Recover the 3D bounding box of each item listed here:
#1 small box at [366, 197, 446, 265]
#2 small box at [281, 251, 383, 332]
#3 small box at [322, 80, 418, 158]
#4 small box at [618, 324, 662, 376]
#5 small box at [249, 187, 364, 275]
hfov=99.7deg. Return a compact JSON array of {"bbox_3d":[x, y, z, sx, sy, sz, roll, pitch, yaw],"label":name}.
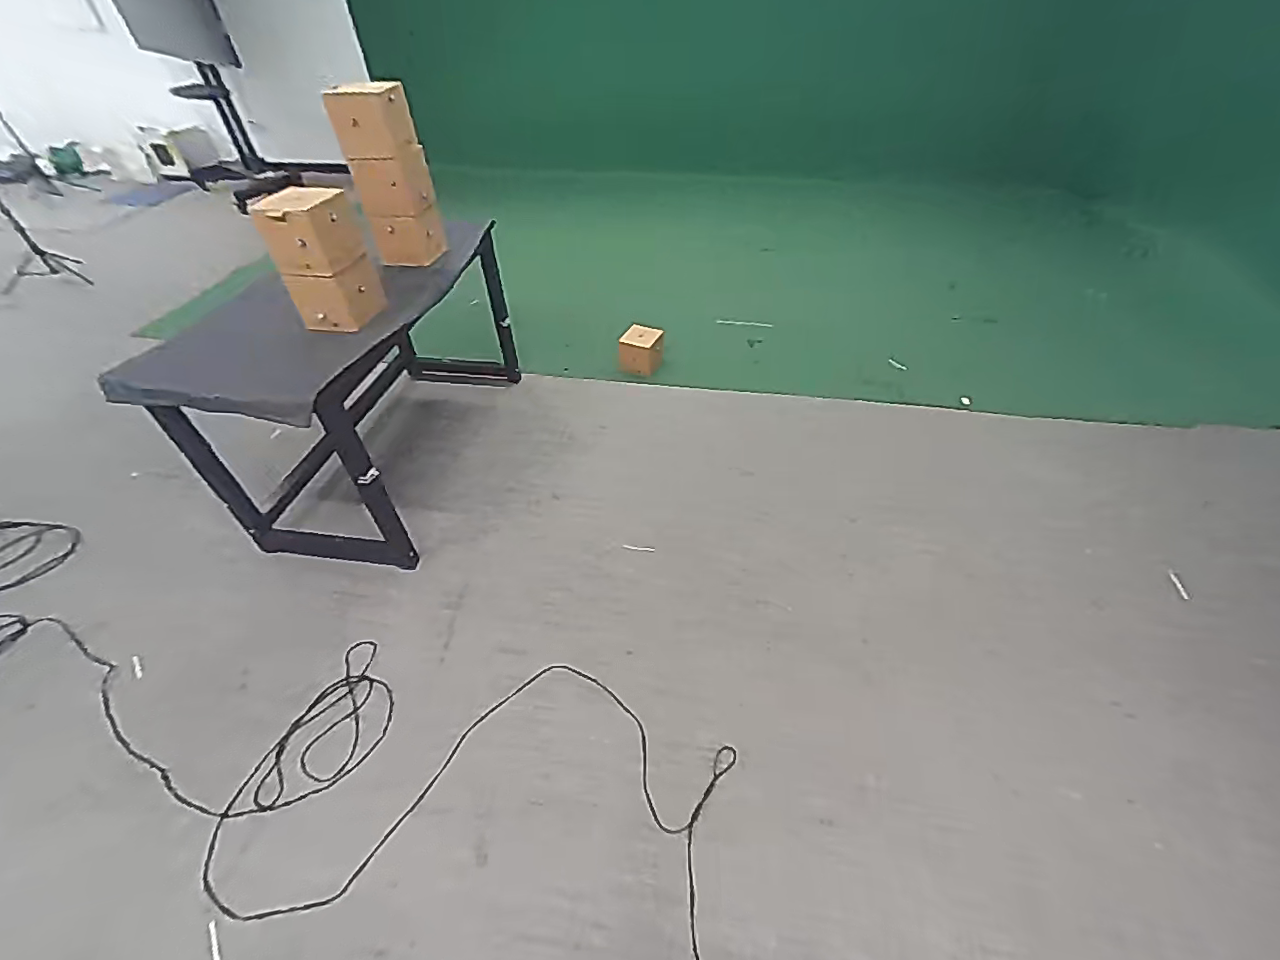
[{"bbox_3d":[-0.795,-0.855,1.864,0.179,0.176,0.168,5,45,8],"label":"small box"},{"bbox_3d":[-0.868,-0.546,1.551,0.168,0.176,0.179,6,46,8],"label":"small box"},{"bbox_3d":[-0.805,-1.087,1.632,0.179,0.176,0.168,2,45,6],"label":"small box"},{"bbox_3d":[0.004,-0.638,2.663,0.168,0.176,0.179,19,48,18],"label":"small box"},{"bbox_3d":[-0.870,-0.659,1.435,0.168,0.176,0.179,7,44,8],"label":"small box"}]
